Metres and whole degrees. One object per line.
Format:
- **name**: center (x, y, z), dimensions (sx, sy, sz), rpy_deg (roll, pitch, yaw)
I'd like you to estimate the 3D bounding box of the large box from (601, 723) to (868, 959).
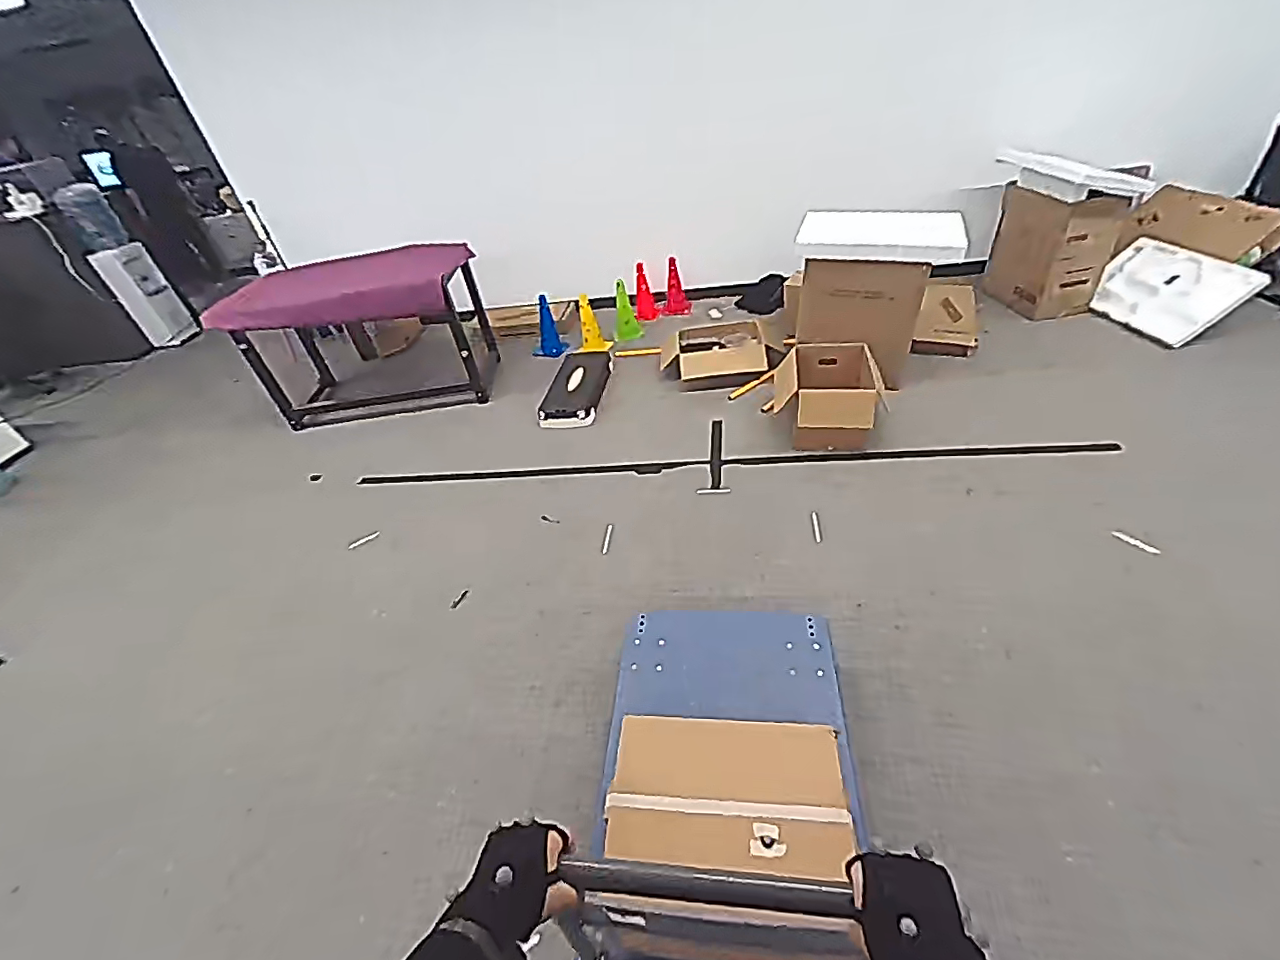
- **large box**: center (0.163, 0.685, 1.011), dimensions (0.408, 0.320, 0.320), rpy_deg (-1, 40, 9)
